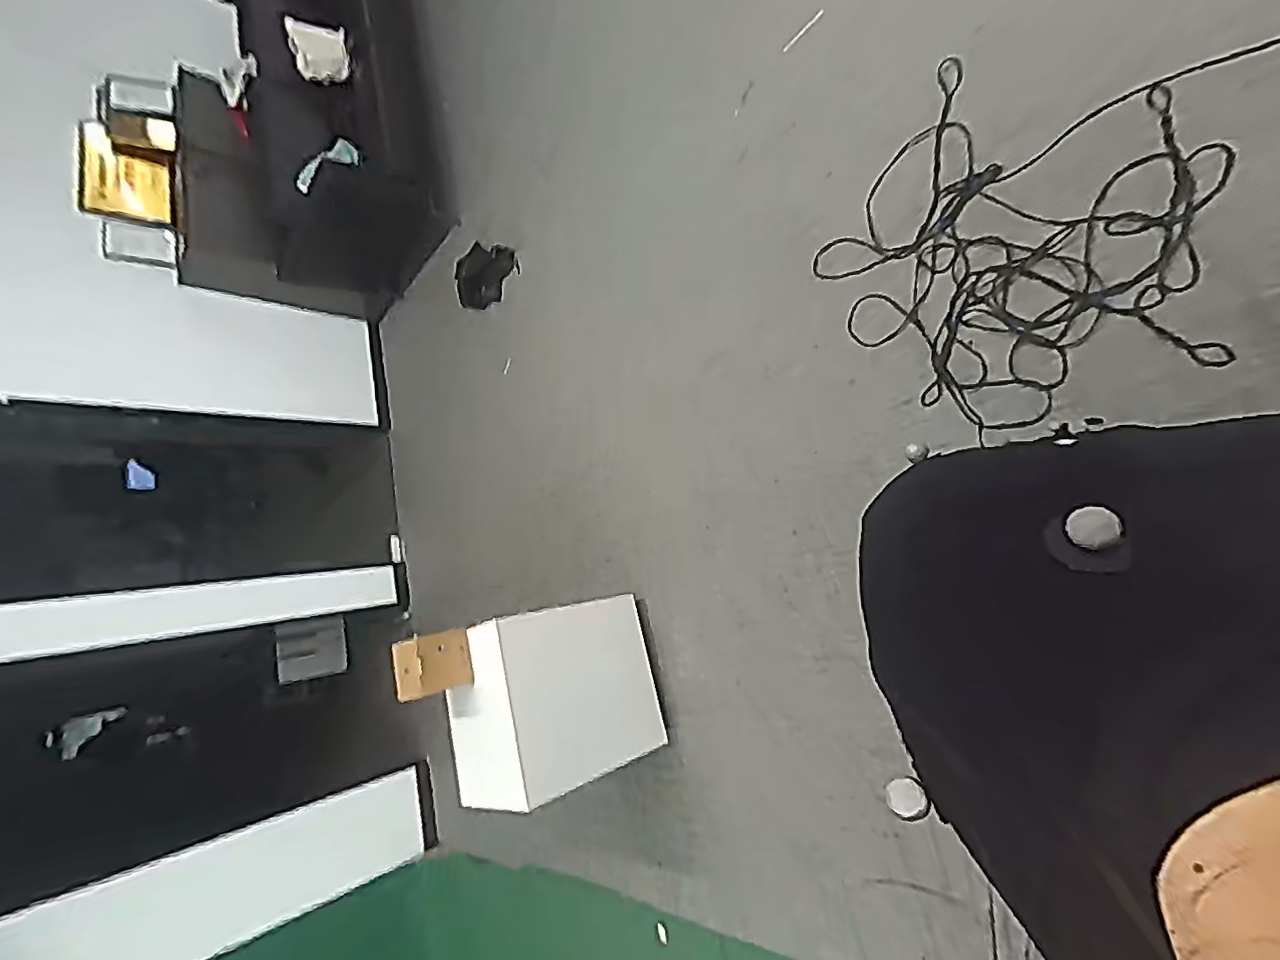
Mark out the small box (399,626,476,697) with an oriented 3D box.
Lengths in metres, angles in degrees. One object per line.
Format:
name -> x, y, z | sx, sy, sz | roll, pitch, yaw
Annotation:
small box -> -0.618, 0.555, 1.663 | 0.179, 0.176, 0.168 | -28, 69, 42
